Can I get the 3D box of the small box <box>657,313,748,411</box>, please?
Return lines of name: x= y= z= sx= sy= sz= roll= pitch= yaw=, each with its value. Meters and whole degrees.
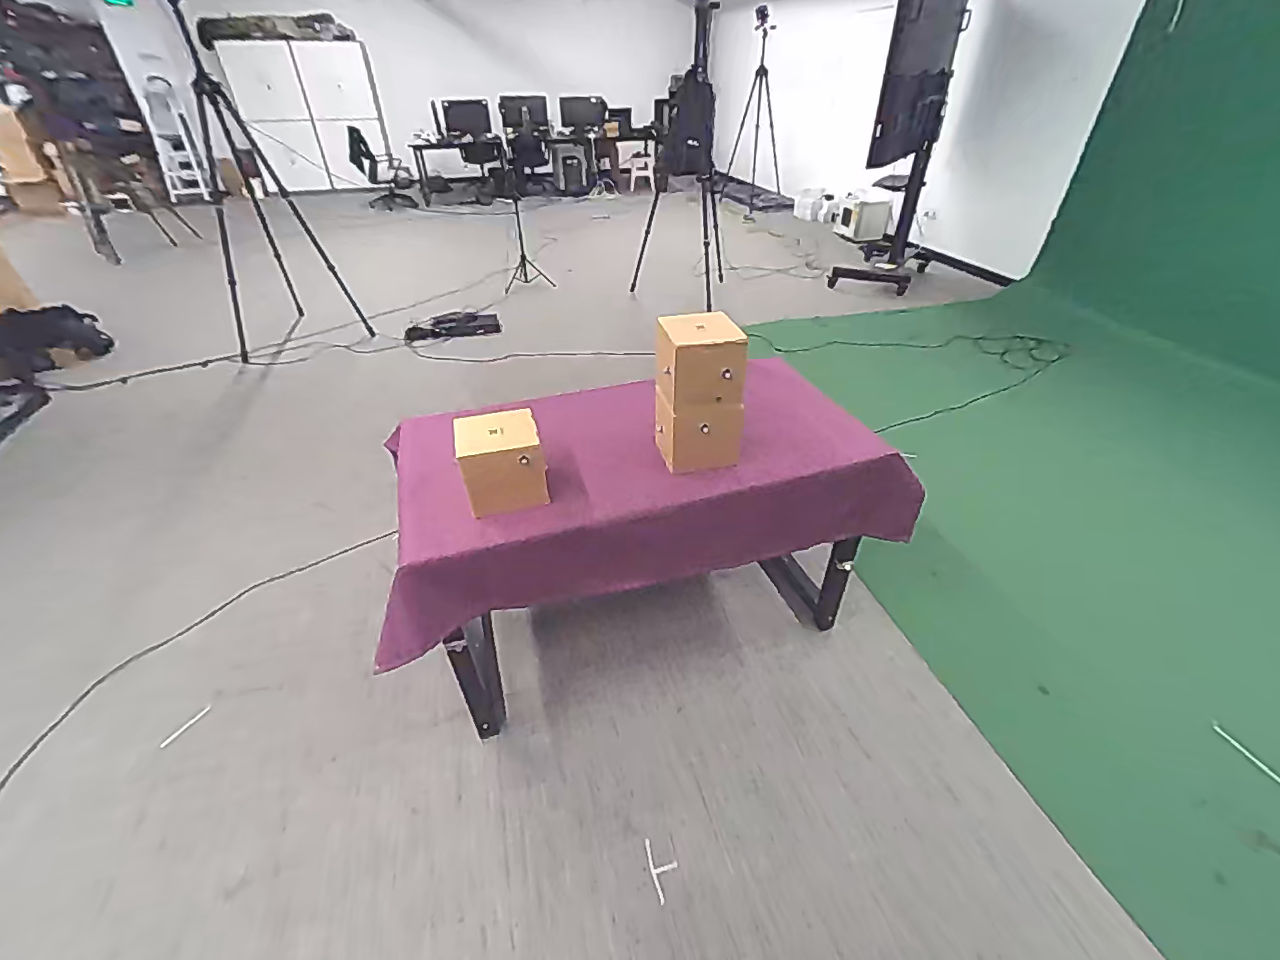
small box: x=0.139 y=-0.269 z=1.254 sx=0.168 sy=0.176 sz=0.179 roll=-8 pitch=37 yaw=-9

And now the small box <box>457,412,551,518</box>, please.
small box: x=-0.309 y=-0.033 z=1.235 sx=0.179 sy=0.176 sz=0.168 roll=-11 pitch=38 yaw=-13

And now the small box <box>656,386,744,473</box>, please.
small box: x=0.145 y=-0.134 z=1.345 sx=0.179 sy=0.176 sz=0.168 roll=-9 pitch=38 yaw=-9
